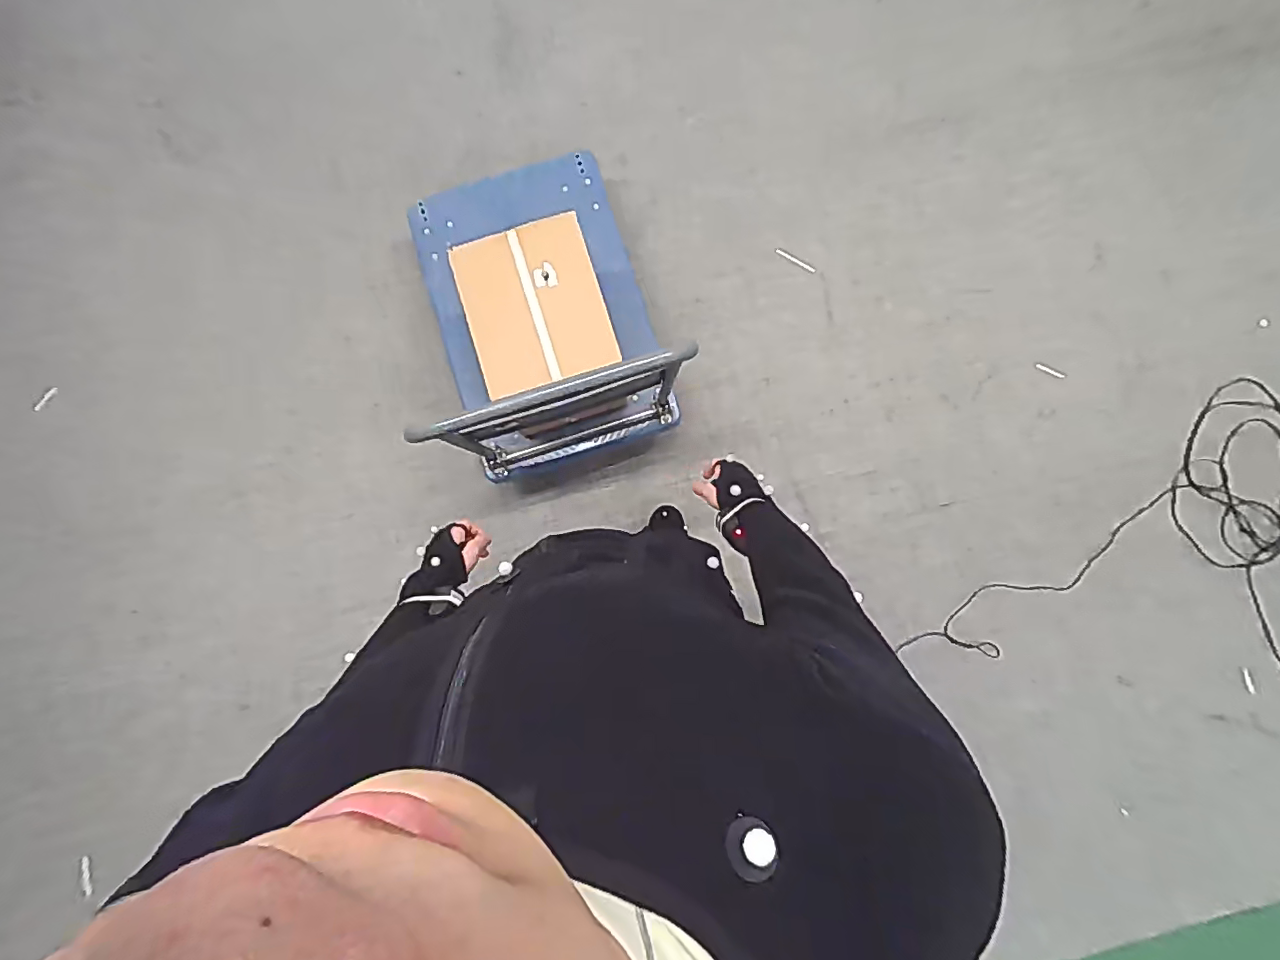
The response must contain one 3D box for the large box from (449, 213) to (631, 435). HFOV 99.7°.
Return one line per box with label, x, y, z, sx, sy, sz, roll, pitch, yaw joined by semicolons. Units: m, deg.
large box;-0.232;-0.371;1.376;0.320;0.320;0.408;-18;84;-2
